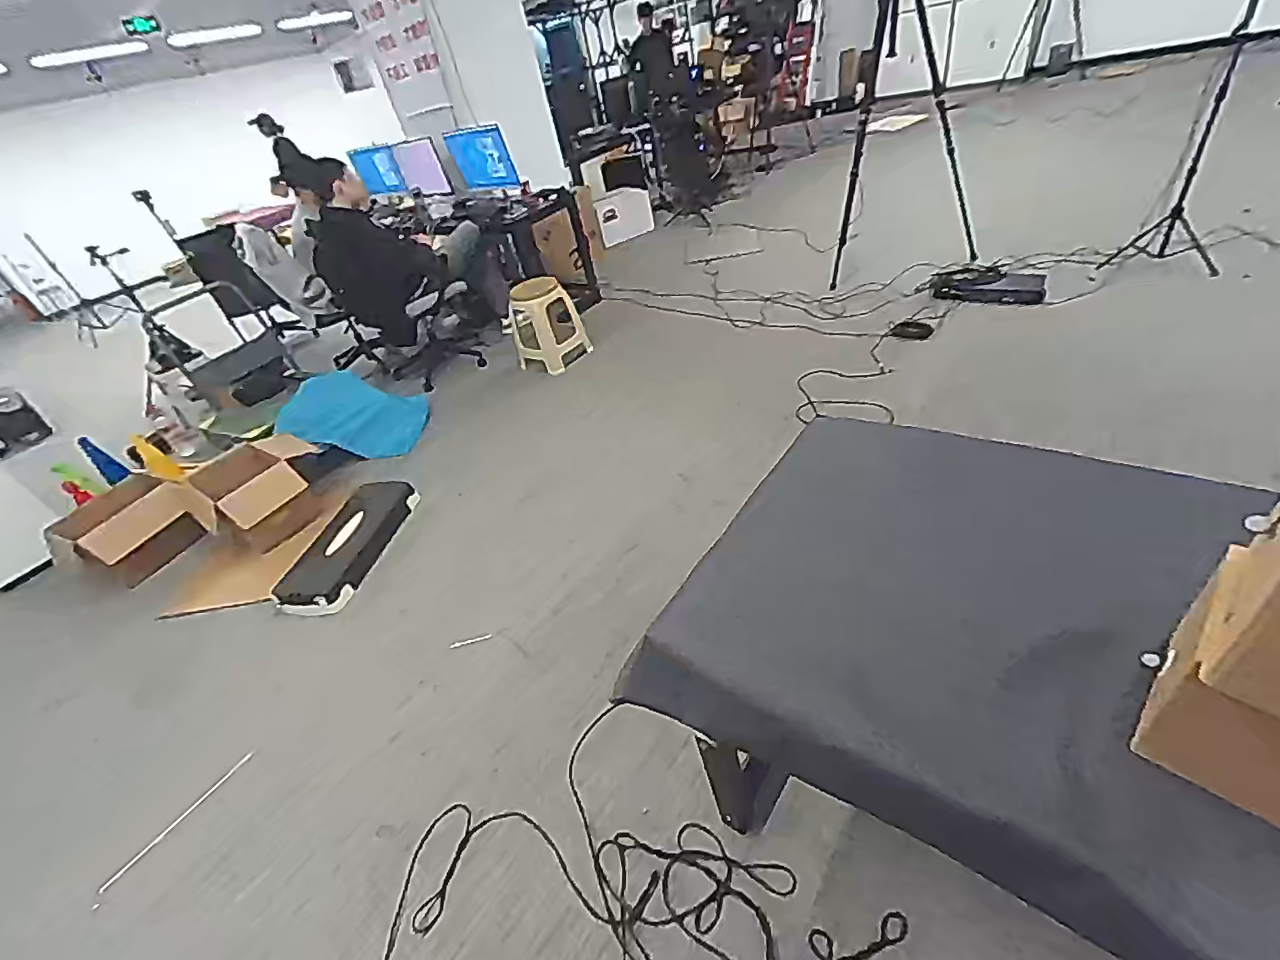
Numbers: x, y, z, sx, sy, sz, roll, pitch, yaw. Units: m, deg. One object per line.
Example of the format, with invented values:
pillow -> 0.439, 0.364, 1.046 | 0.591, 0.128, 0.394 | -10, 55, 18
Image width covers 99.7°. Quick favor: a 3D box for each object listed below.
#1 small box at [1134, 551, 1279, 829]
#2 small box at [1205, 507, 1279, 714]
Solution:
small box -> 0.601, 0.202, 0.486 | 0.168, 0.176, 0.179 | -38, 42, -28
small box -> 0.556, 0.090, 0.376 | 0.168, 0.176, 0.179 | -37, 43, -27
